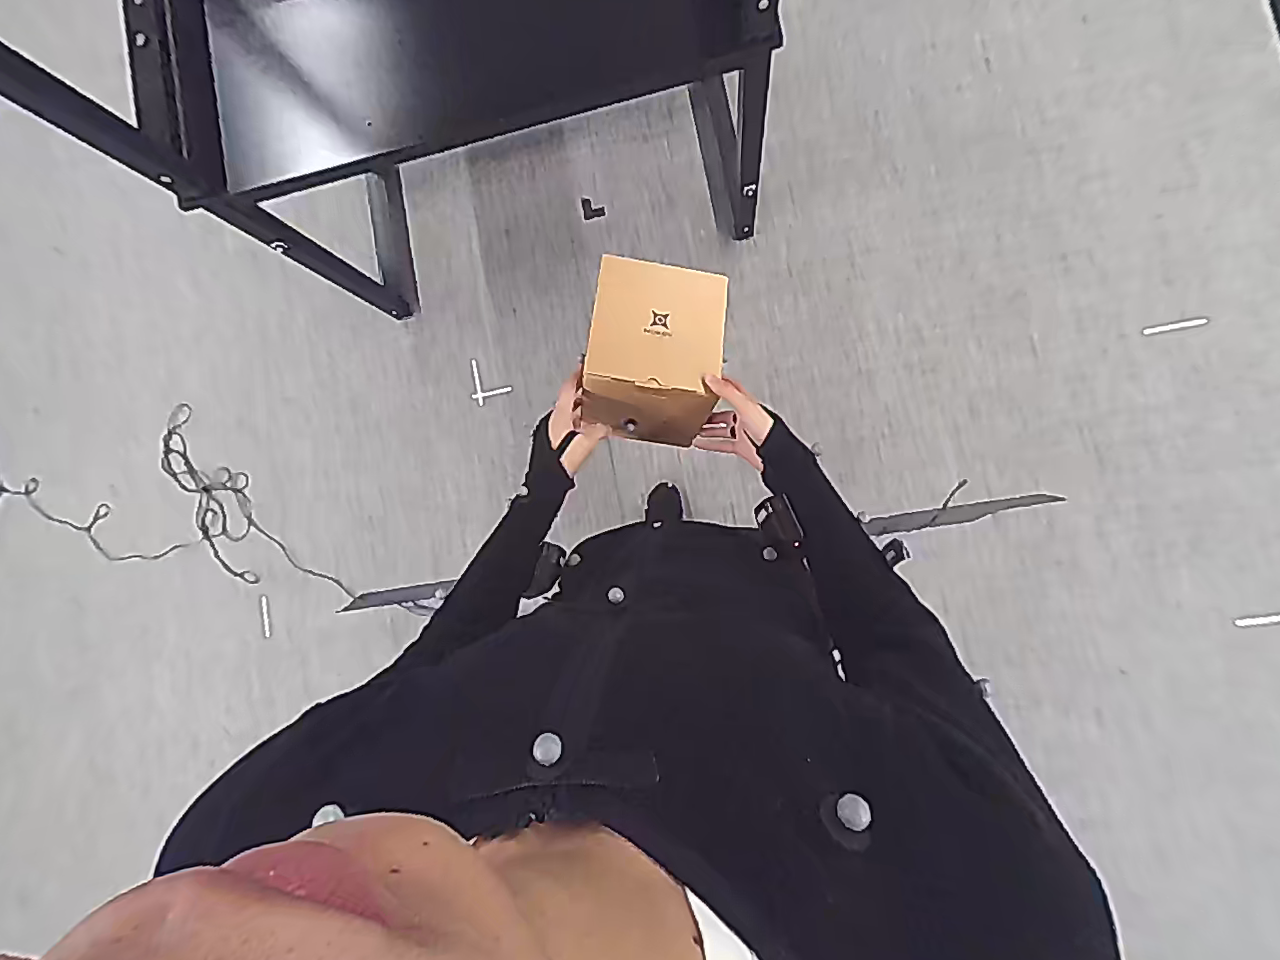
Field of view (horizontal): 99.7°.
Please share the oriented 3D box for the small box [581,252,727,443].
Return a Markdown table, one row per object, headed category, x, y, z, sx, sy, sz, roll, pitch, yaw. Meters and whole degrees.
| category | x | y | z | sx | sy | sz | roll | pitch | yaw |
| --- | --- | --- | --- | --- | --- | --- | --- | --- | --- |
| small box | 0.012 | -0.169 | 0.733 | 0.168 | 0.176 | 0.179 | 8 | 72 | -6 |
